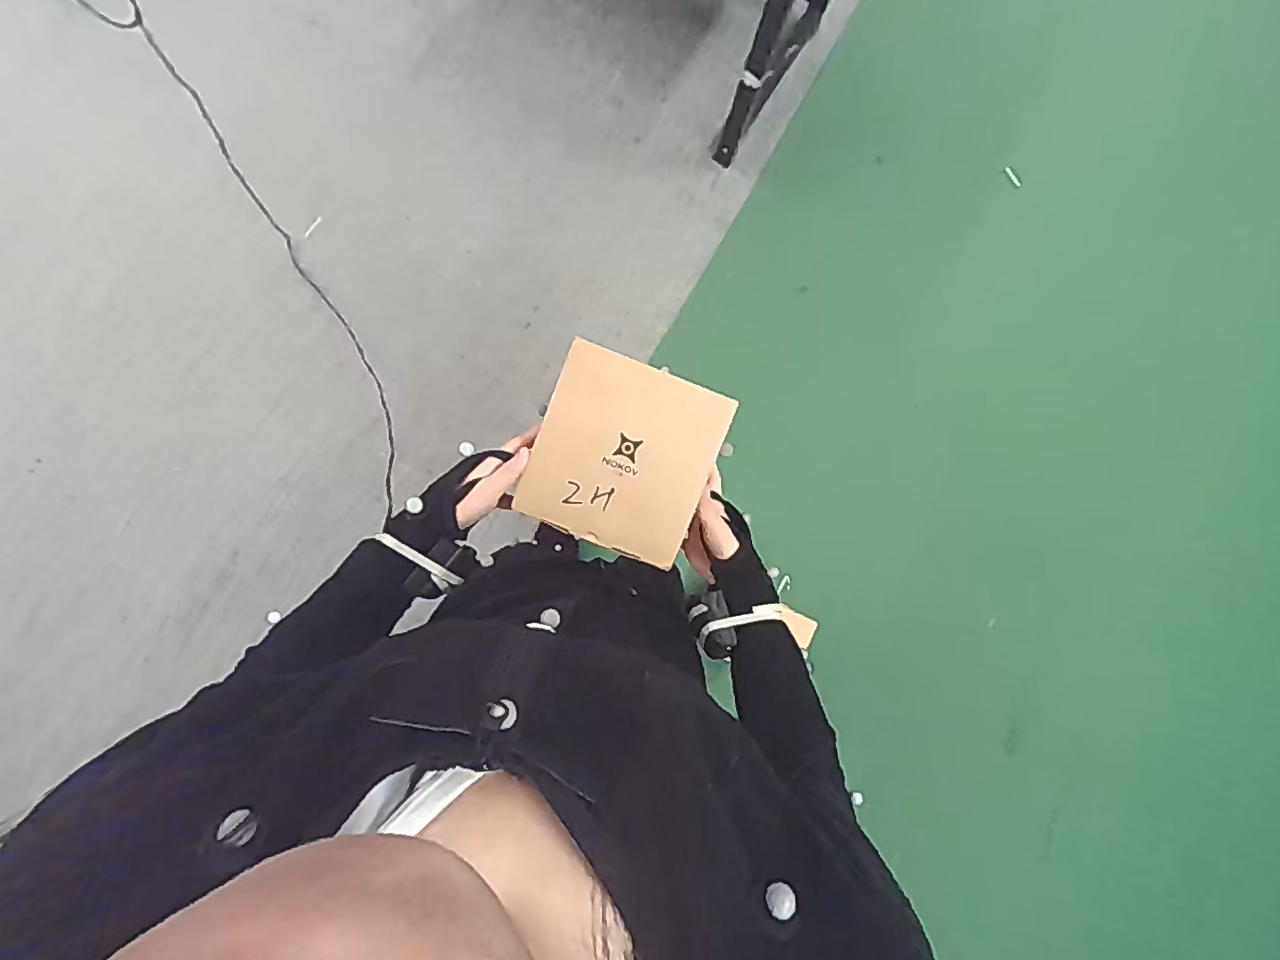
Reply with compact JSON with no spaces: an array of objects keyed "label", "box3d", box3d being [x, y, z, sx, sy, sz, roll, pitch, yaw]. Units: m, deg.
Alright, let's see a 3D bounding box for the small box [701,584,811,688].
[{"label":"small box","box3d":[0.268,0.359,1.283,0.179,0.176,0.168,27,84,-3]}]
